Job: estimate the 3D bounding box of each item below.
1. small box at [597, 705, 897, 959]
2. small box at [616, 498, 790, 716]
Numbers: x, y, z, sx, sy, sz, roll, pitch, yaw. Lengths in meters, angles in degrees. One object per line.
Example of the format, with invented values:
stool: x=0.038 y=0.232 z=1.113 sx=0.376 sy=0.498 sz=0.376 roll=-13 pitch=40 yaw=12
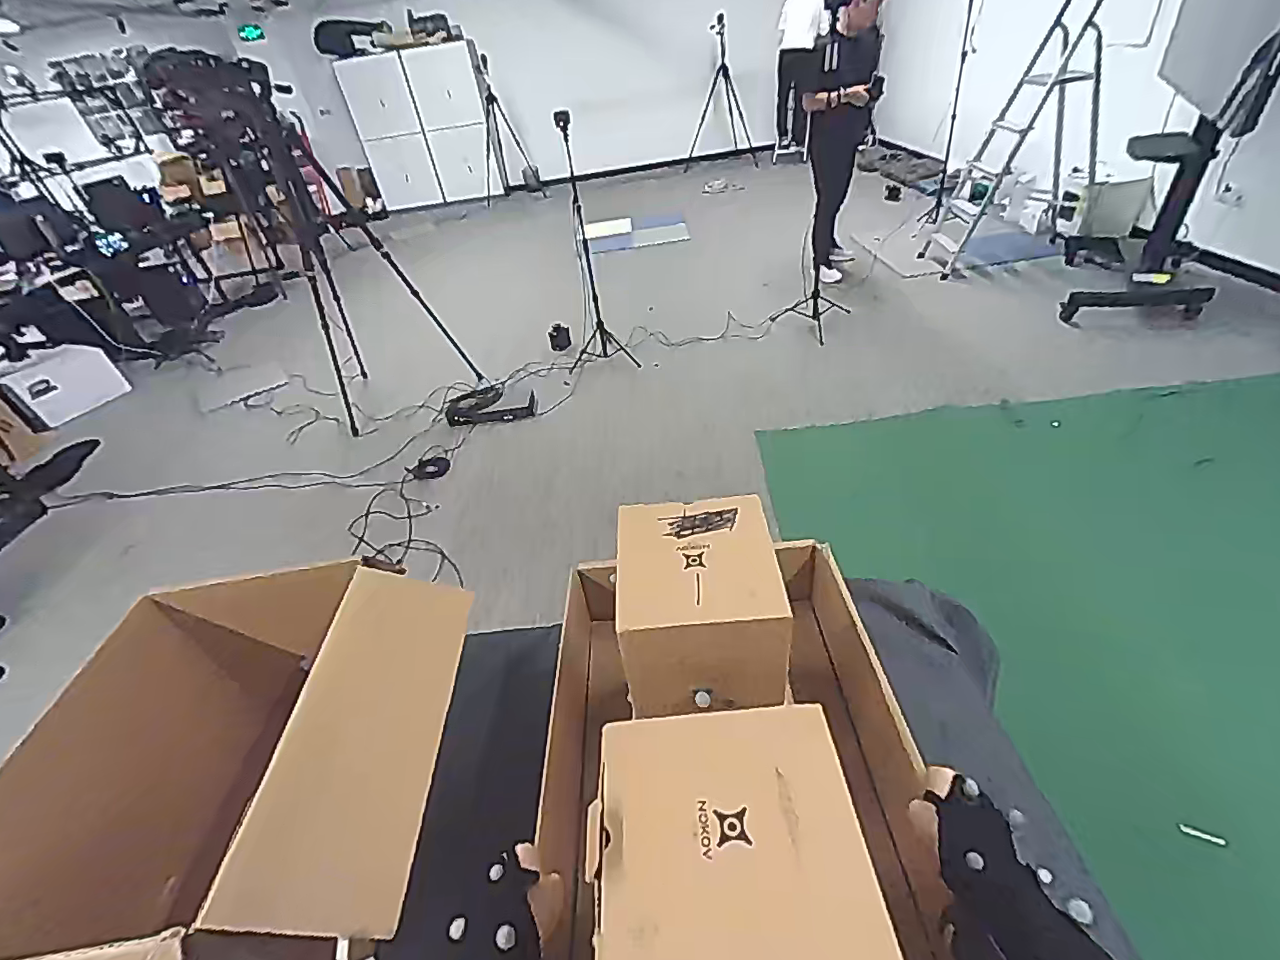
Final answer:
small box: x=0.067 y=0.300 z=0.418 sx=0.179 sy=0.176 sz=0.168 roll=-6 pitch=38 yaw=2
small box: x=0.066 y=0.143 z=0.618 sx=0.168 sy=0.176 sz=0.179 roll=-5 pitch=40 yaw=4
